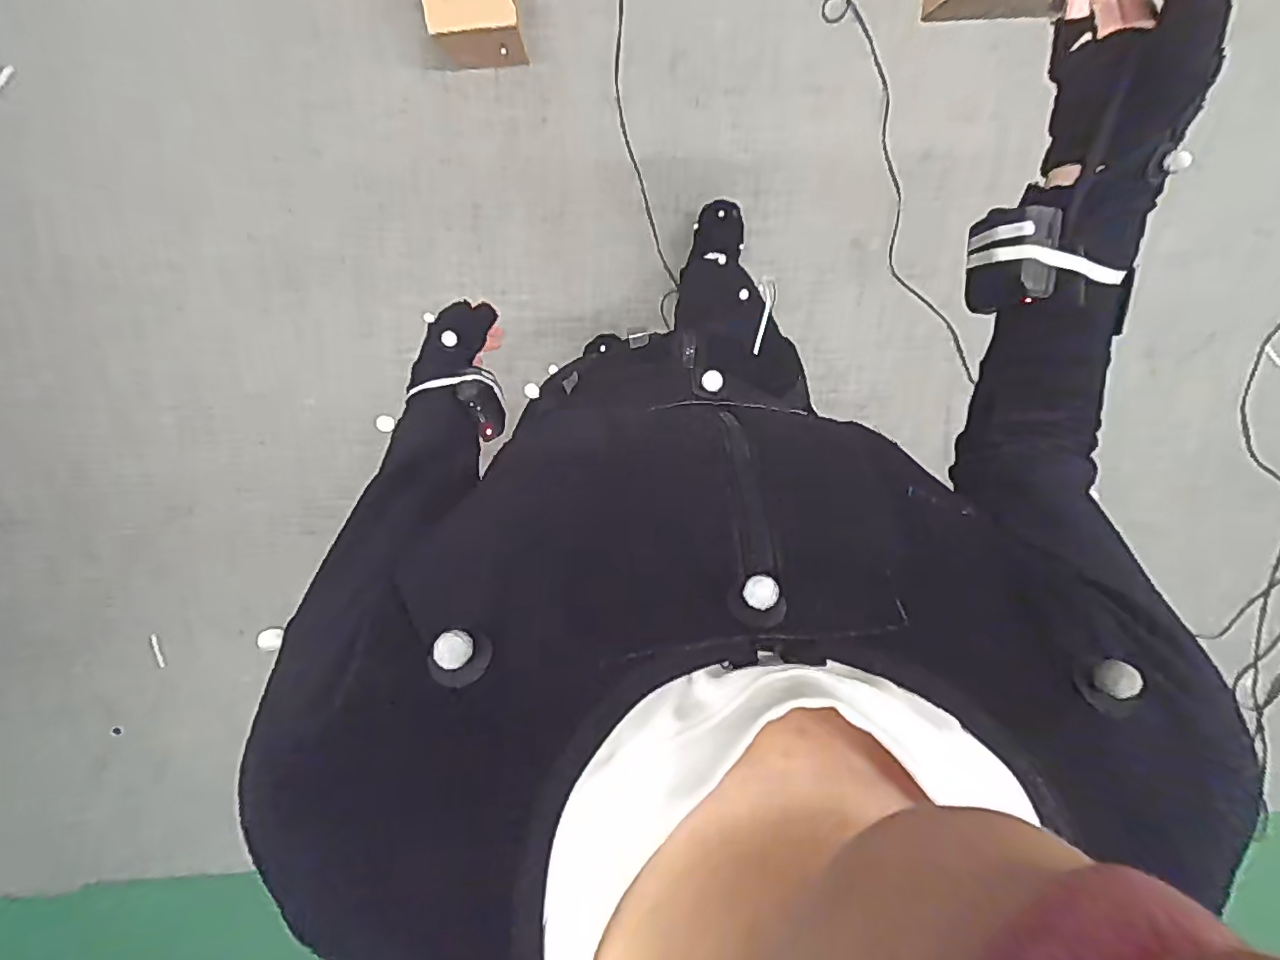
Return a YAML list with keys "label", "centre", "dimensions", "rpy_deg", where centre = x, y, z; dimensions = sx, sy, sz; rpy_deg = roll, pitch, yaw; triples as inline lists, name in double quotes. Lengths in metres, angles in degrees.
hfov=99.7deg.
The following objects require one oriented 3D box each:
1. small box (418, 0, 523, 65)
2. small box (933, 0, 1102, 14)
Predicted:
- label: "small box"
  centre: [-0.337, -0.964, 1.077]
  dimensions: [0.179, 0.176, 0.168]
  rpy_deg: [-6, 107, 0]
- label: "small box"
  centre: [0.314, -0.449, 0.351]
  dimensions: [0.168, 0.176, 0.179]
  rpy_deg: [-6, 111, -4]
